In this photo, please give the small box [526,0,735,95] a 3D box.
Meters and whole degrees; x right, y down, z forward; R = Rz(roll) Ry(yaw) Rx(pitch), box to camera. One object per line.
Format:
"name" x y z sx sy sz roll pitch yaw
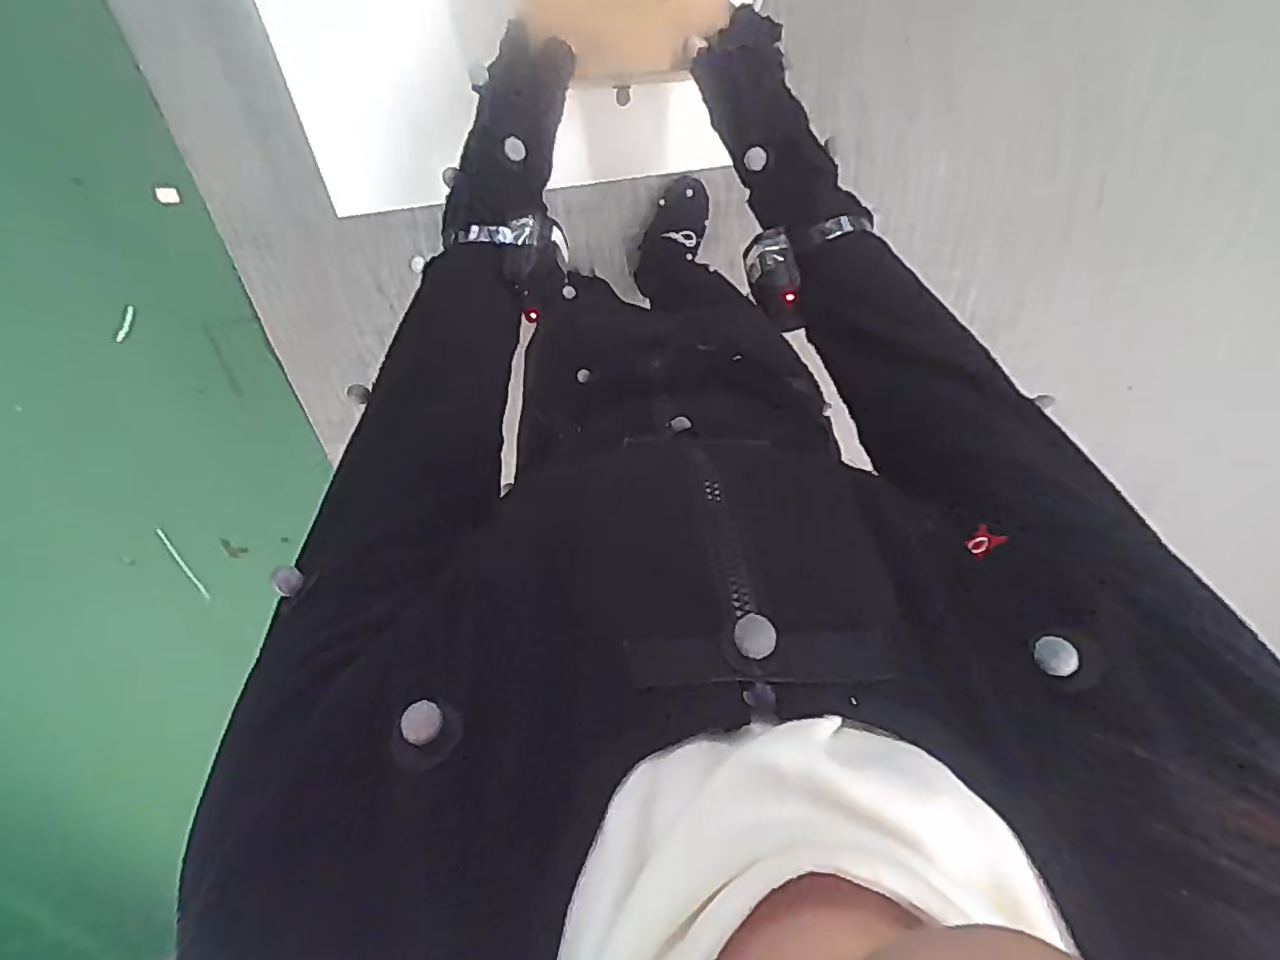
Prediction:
"small box" -0.010 -0.449 0.466 0.168 0.176 0.179 -3 123 3
